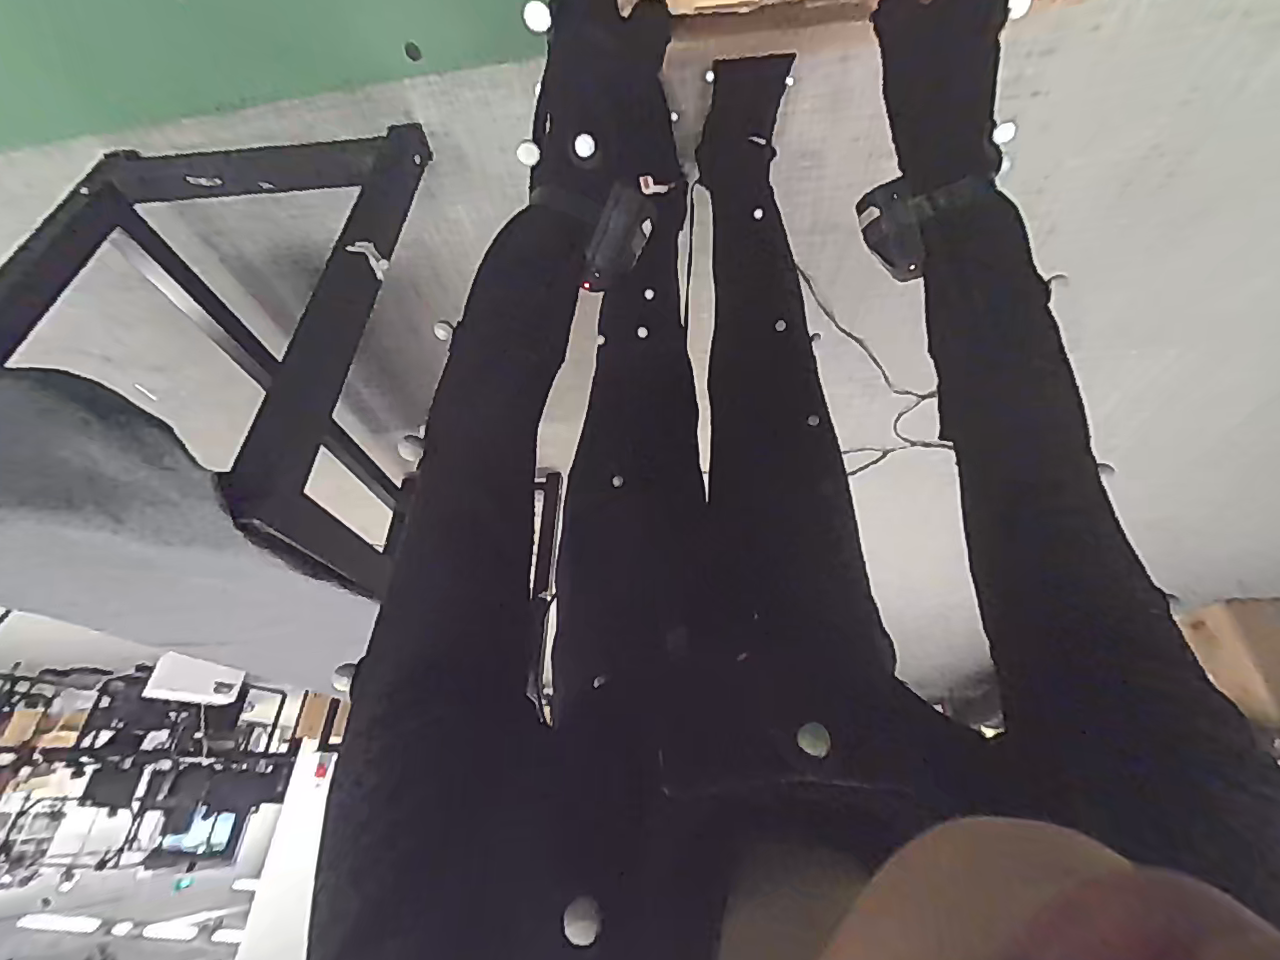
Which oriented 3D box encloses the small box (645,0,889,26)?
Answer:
[{"bbox_3d":[0.087,-0.430,0.348,0.168,0.176,0.179,1,141,7],"label":"small box"}]
